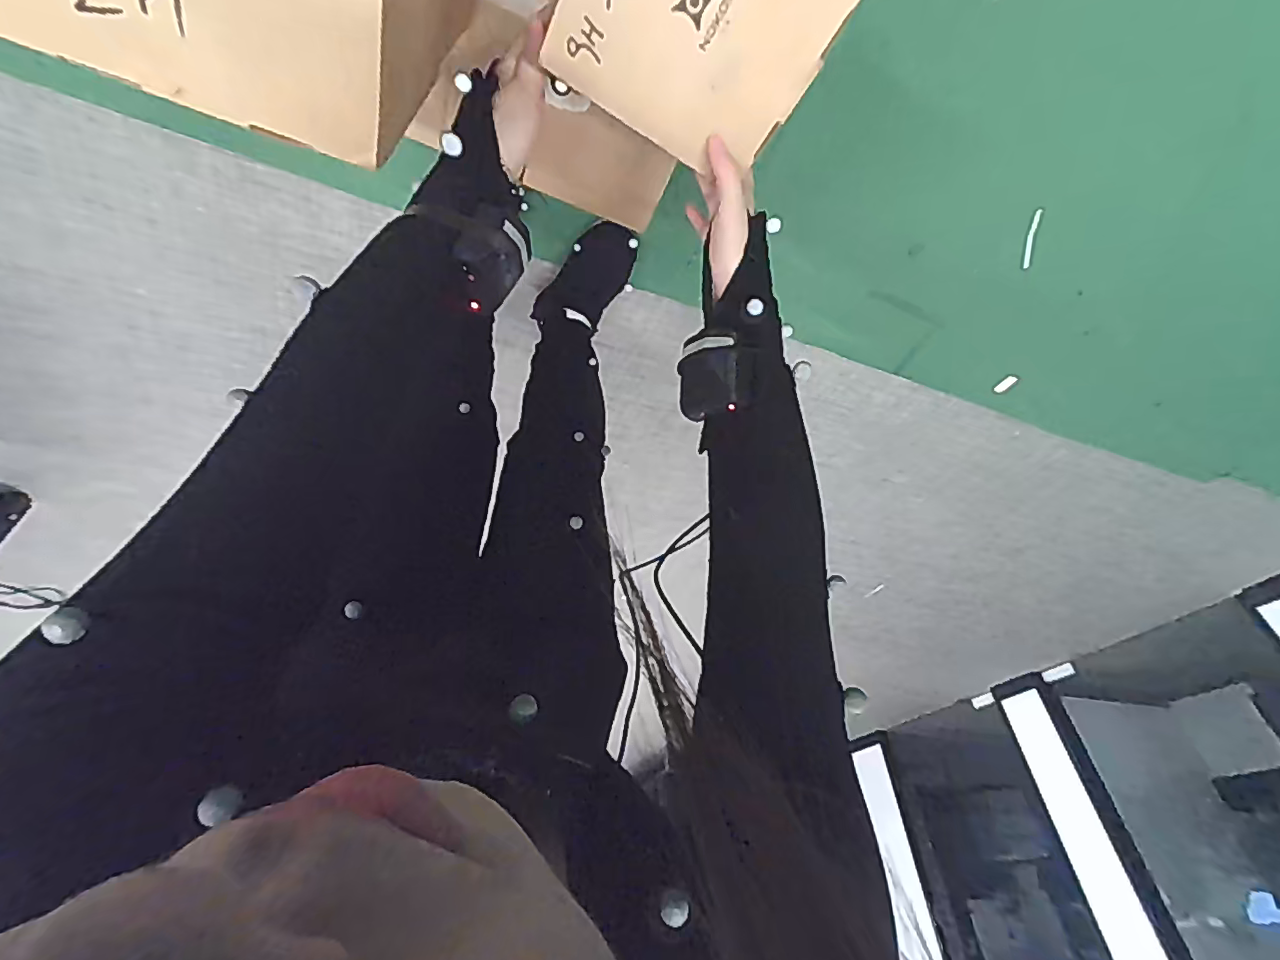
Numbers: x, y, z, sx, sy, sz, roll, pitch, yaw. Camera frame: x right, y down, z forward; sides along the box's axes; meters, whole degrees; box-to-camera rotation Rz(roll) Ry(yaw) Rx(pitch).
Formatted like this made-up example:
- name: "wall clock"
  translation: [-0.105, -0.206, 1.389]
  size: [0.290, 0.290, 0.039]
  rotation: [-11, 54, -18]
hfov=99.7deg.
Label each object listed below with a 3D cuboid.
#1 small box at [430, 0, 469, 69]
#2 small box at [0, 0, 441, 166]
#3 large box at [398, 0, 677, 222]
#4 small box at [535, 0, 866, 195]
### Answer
- name: "small box"
  translation: [-0.191, -0.419, 0.347]
  size: [0.168, 0.176, 0.179]
  rotation: [14, 137, -19]
- name: "small box"
  translation: [-0.184, -0.291, 0.243]
  size: [0.168, 0.176, 0.179]
  rotation: [13, 137, -18]
- name: "large box"
  translation: [-0.119, -0.552, 0.571]
  size: [0.408, 0.320, 0.320]
  rotation: [13, 139, -19]
- name: "small box"
  translation: [0.040, -0.366, 0.412]
  size: [0.179, 0.176, 0.168]
  rotation: [21, 132, -23]
